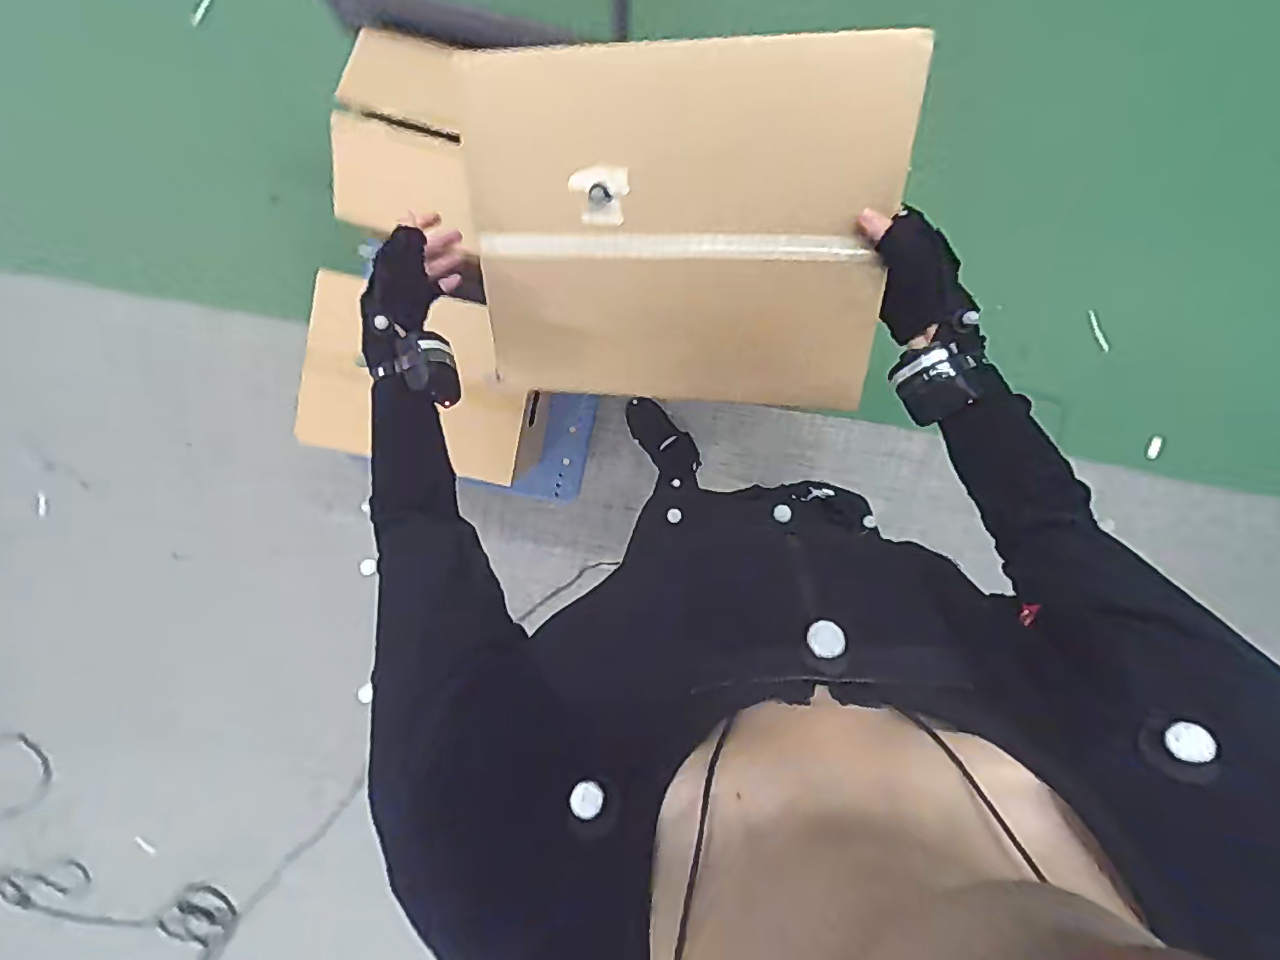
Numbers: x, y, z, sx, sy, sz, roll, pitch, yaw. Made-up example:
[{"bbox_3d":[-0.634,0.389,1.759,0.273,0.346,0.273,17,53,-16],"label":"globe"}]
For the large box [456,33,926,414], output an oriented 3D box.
[{"bbox_3d":[0.064,-0.289,0.643,0.408,0.320,0.320,6,120,12],"label":"large box"}]
